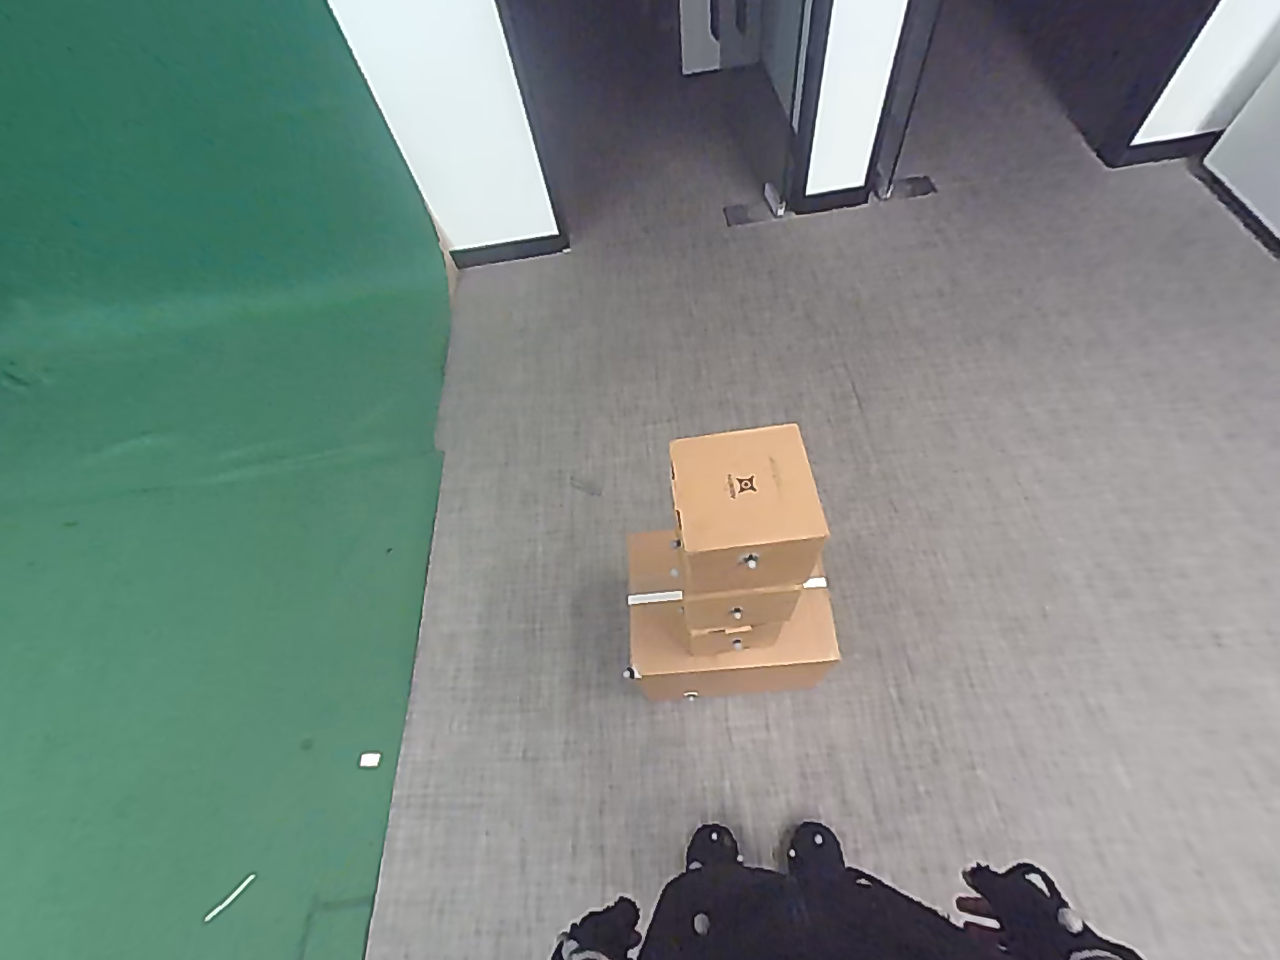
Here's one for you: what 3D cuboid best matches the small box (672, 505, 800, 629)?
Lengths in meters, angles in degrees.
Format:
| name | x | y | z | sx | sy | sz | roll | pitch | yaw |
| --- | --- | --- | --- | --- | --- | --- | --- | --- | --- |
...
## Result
| name | x | y | z | sx | sy | sz | roll | pitch | yaw |
| --- | --- | --- | --- | --- | --- | --- | --- | --- | --- |
| small box | 0.149 | 0.137 | 0.887 | 0.179 | 0.176 | 0.168 | -7 | 59 | 5 |

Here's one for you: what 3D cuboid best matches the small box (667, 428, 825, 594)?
| name | x | y | z | sx | sy | sz | roll | pitch | yaw |
| --- | --- | --- | --- | --- | --- | --- | --- | --- | --- |
| small box | 0.136 | 0.051 | 0.751 | 0.179 | 0.176 | 0.168 | -7 | 61 | 2 |

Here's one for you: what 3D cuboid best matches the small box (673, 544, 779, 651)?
| name | x | y | z | sx | sy | sz | roll | pitch | yaw |
| --- | --- | --- | --- | --- | --- | --- | --- | --- | --- |
| small box | 0.160 | 0.219 | 1.030 | 0.168 | 0.176 | 0.179 | -9 | 60 | 2 |
